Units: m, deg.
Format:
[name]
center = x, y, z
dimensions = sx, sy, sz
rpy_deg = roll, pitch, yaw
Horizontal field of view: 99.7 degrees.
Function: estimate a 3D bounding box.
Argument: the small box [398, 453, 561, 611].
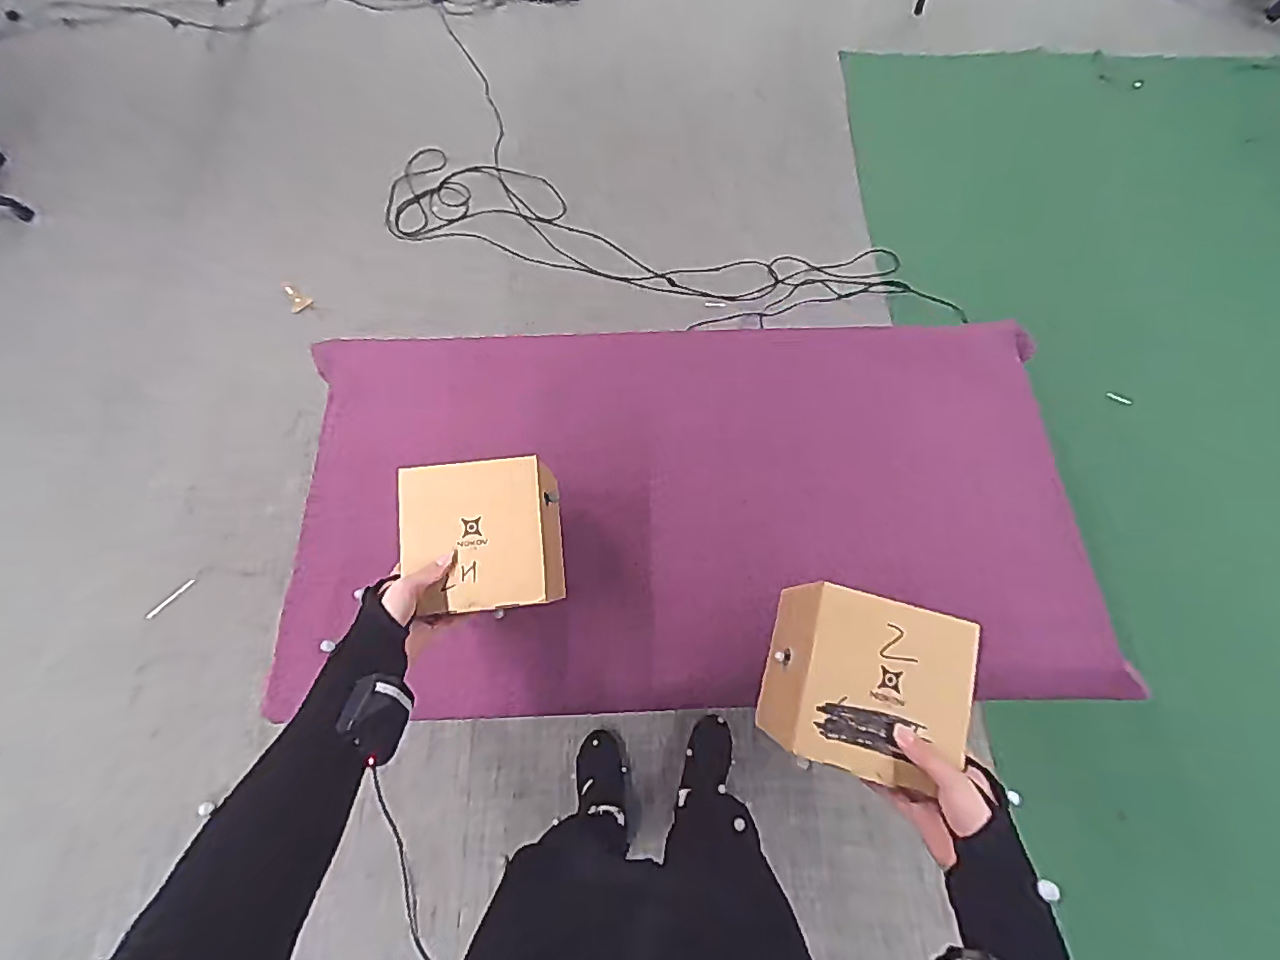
[small box]
center = -0.195, 0.073, 0.699
dimensions = 0.168, 0.176, 0.179
rpy_deg = -4, 80, -2
